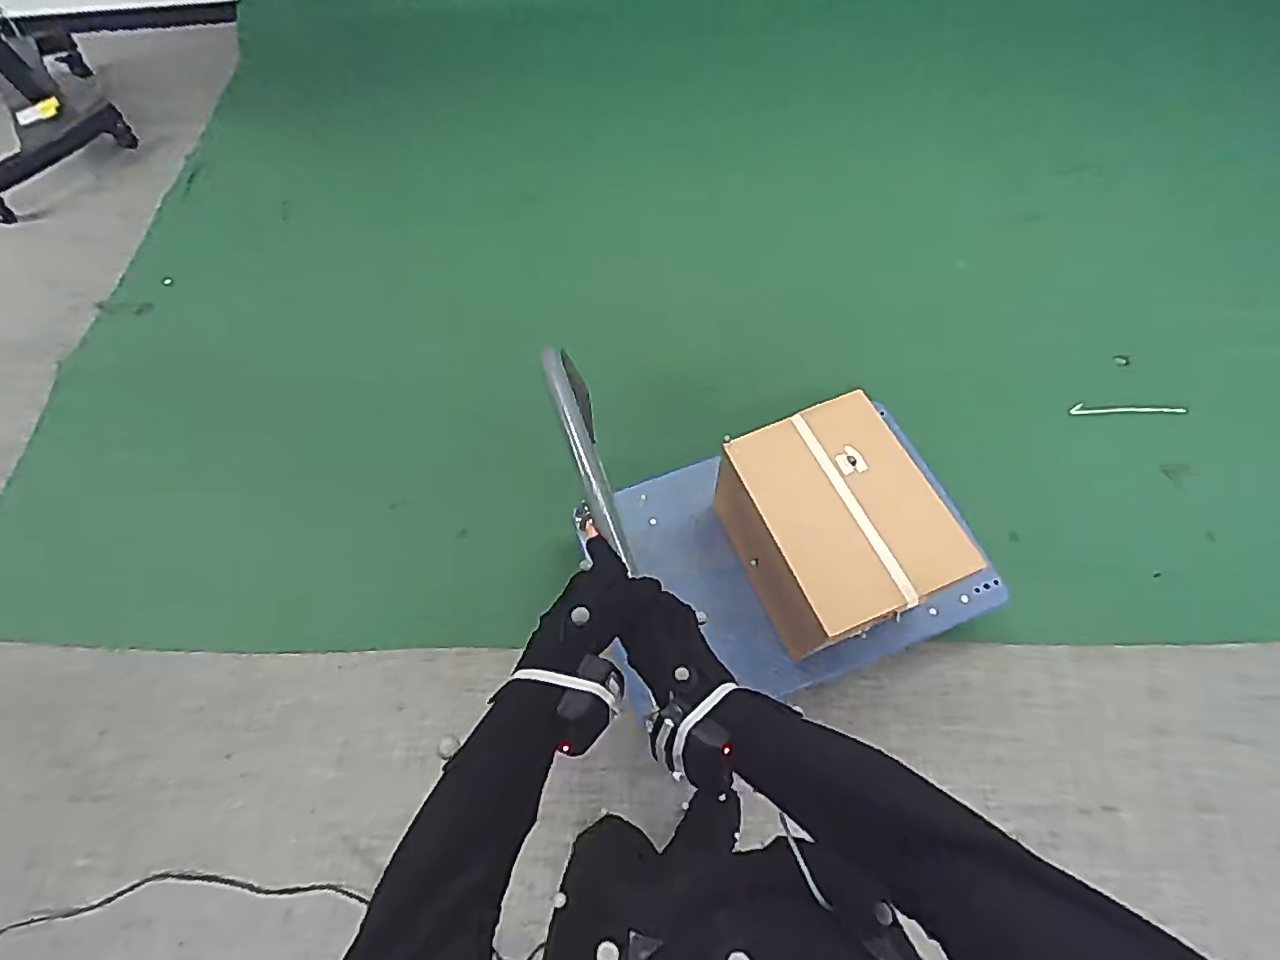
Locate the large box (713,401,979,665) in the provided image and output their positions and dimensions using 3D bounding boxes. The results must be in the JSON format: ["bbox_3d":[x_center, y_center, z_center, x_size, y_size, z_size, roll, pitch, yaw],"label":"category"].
[{"bbox_3d":[0.384,0.118,1.135,0.320,0.320,0.408,-21,64,-8],"label":"large box"}]
